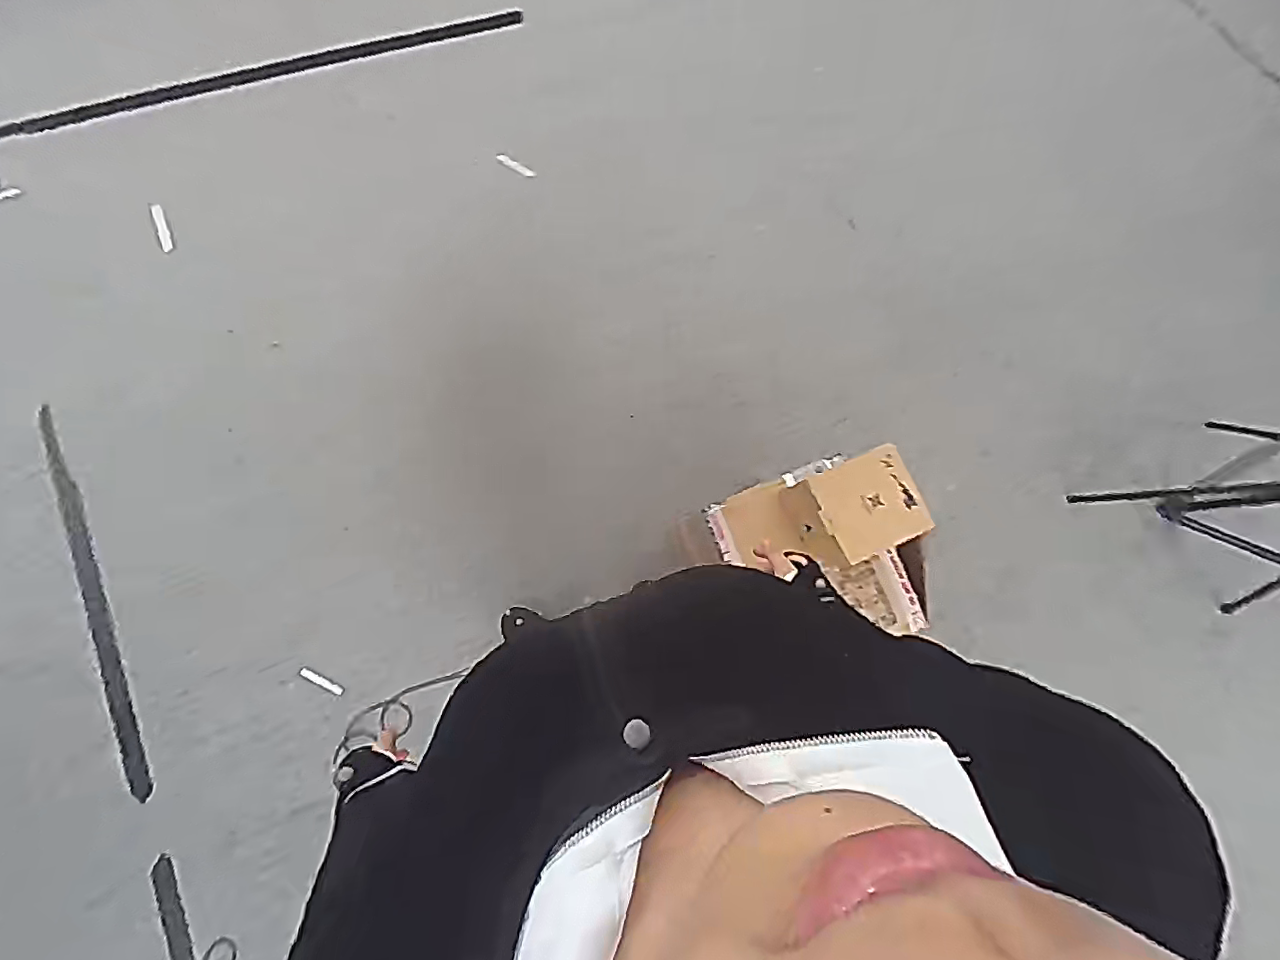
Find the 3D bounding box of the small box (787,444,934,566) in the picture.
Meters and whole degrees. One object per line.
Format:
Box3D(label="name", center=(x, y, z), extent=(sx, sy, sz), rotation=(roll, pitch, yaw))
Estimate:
Box3D(label="small box", center=(0.394, 0.056, 1.008), extent=(0.179, 0.176, 0.168), rotation=(-23, 82, -6))
